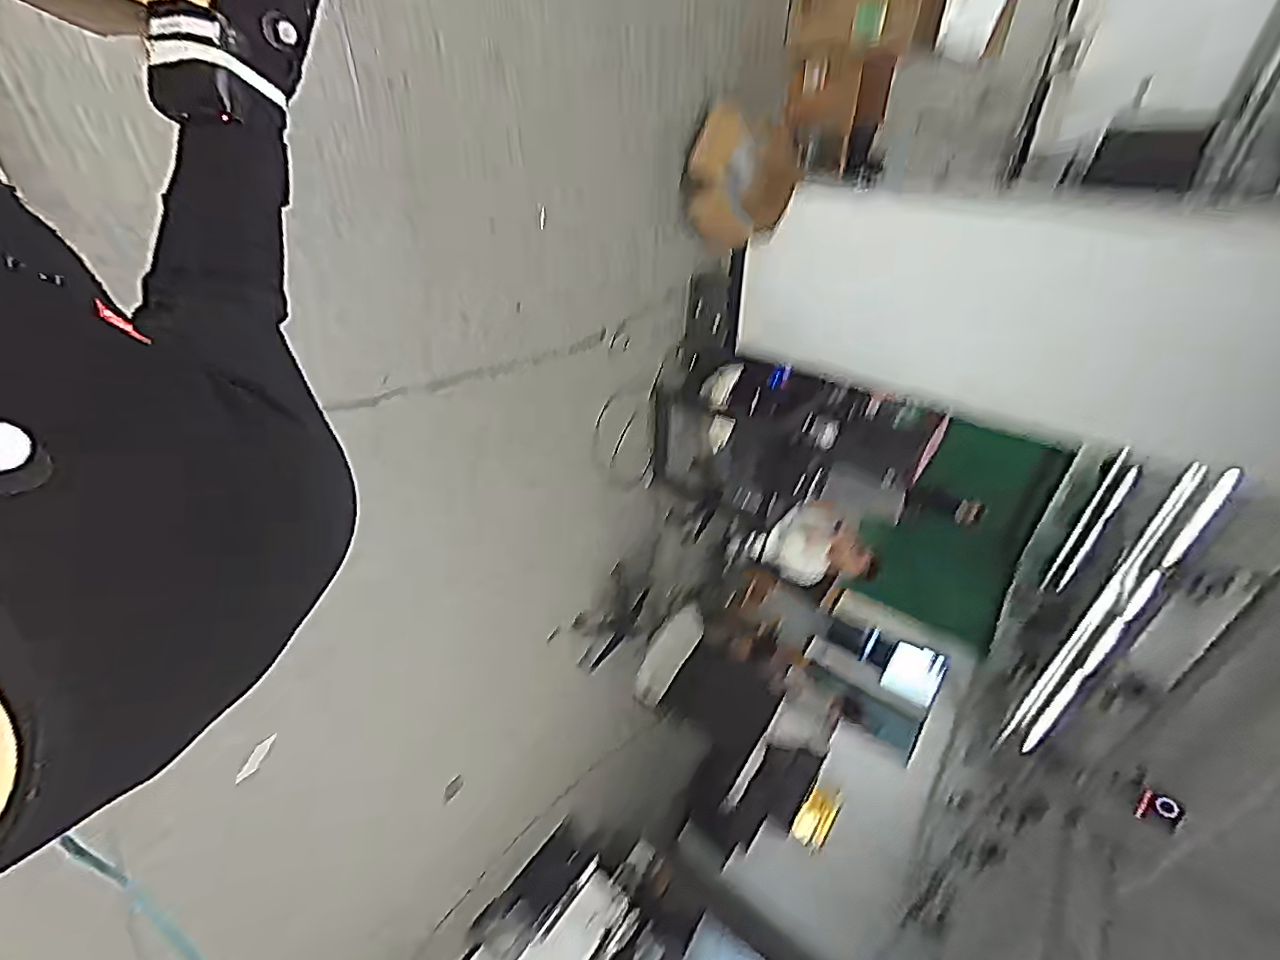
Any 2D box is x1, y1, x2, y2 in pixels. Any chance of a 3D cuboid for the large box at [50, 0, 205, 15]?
[{"bbox_3d":[-0.503,-0.517,0.259,0.408,0.320,0.320,-9,123,-55],"label":"large box"}]
